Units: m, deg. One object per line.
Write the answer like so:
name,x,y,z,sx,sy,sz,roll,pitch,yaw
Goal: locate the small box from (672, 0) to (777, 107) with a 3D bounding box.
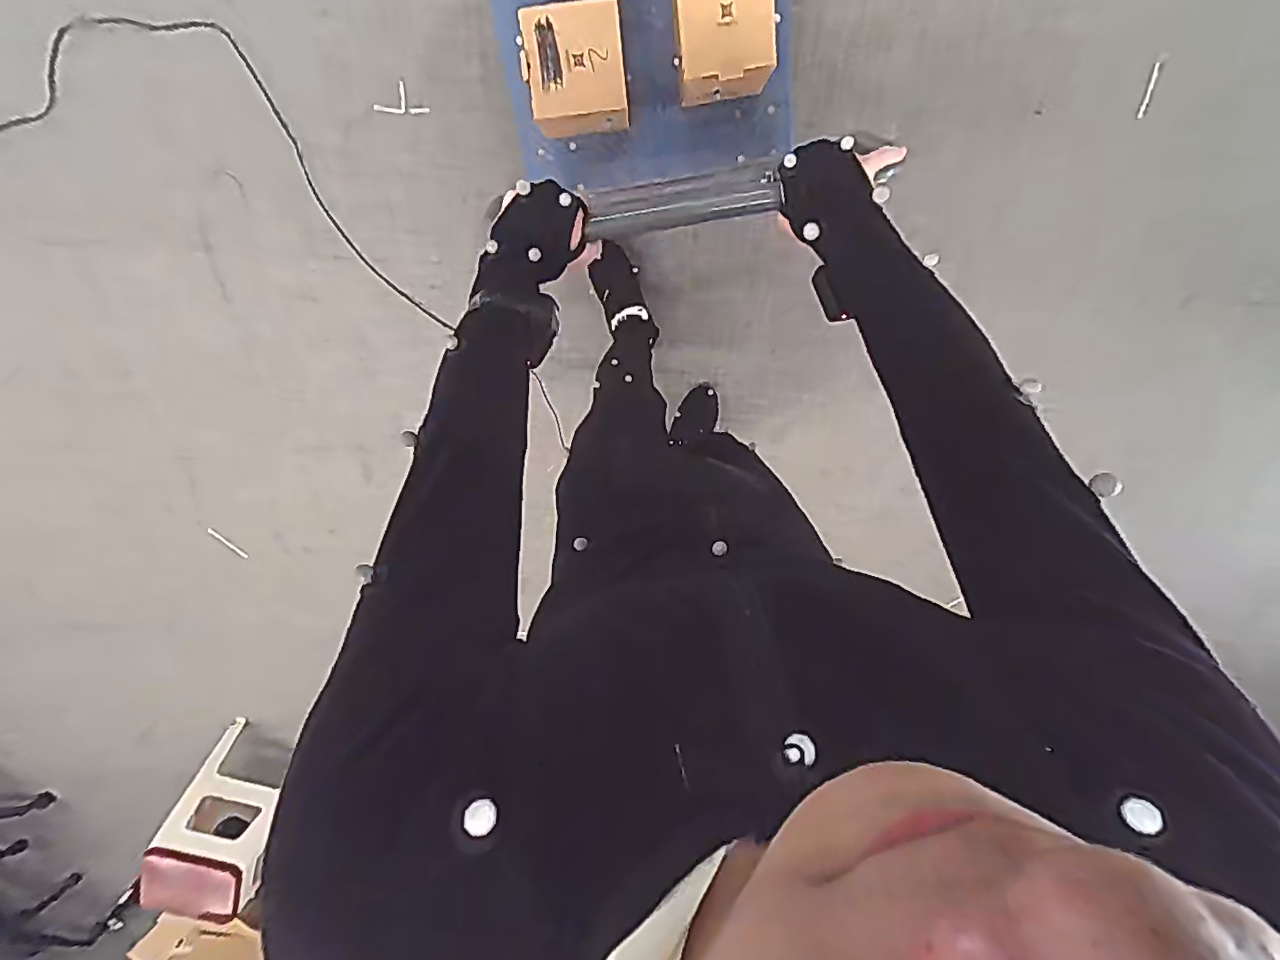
small box,0.152,-0.833,1.011,0.168,0.176,0.179,-8,112,4
